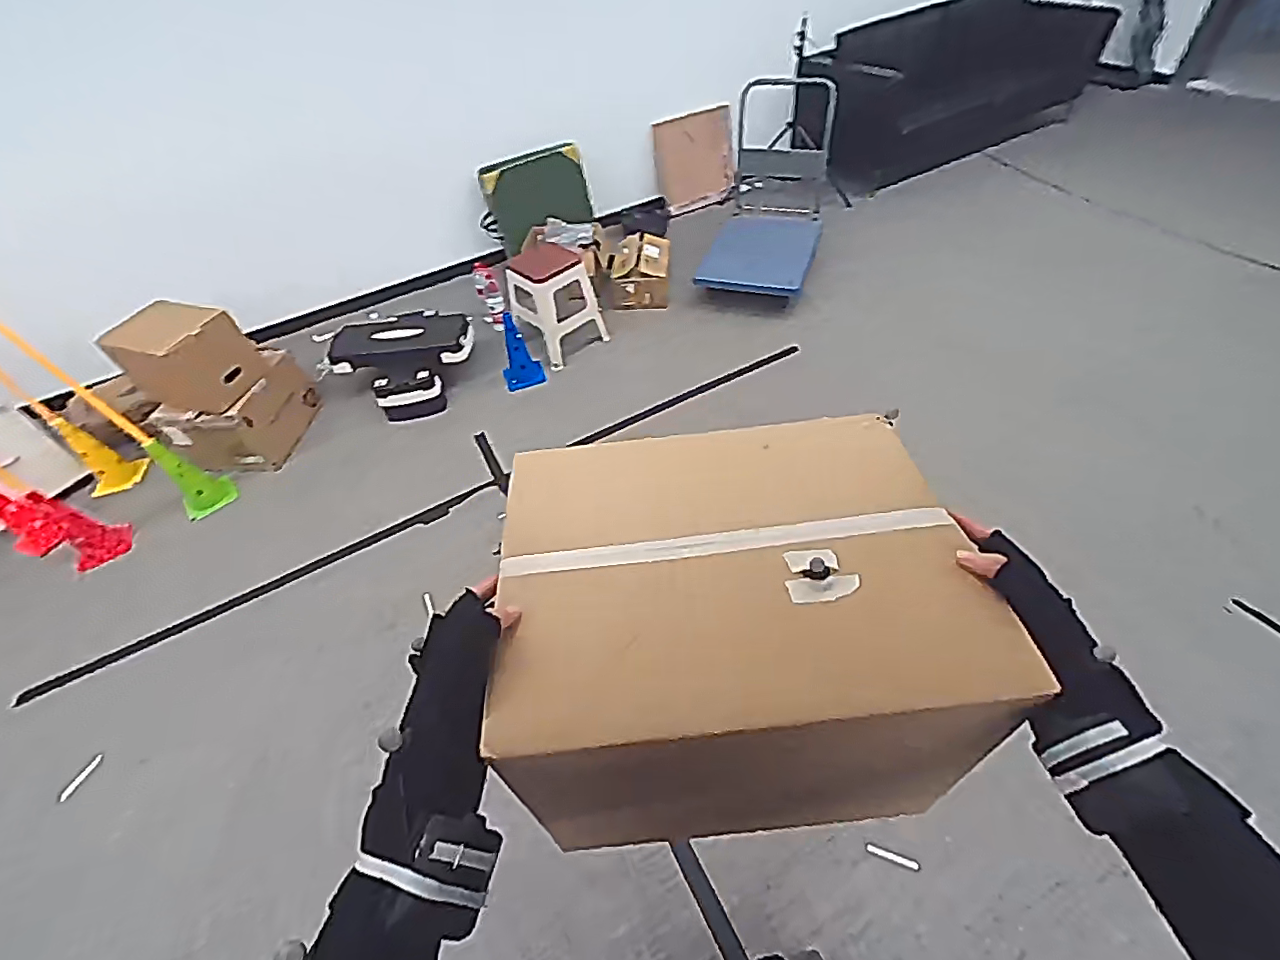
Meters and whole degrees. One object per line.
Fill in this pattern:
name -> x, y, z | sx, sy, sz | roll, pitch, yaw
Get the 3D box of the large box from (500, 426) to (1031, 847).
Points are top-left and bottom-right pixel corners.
large box -> 0.090, 0.173, 0.602 | 0.408, 0.320, 0.320 | -6, 45, 0
